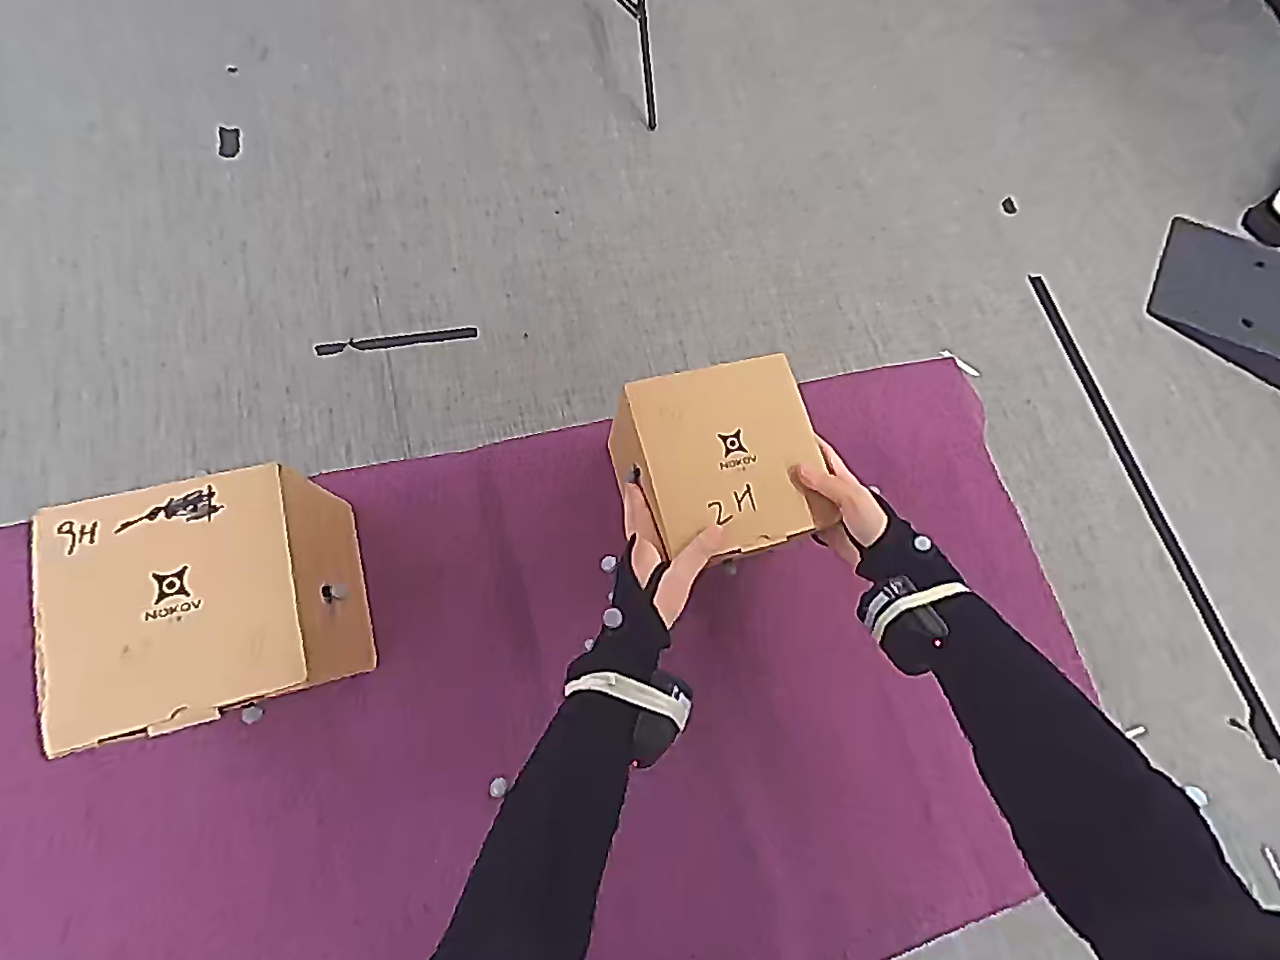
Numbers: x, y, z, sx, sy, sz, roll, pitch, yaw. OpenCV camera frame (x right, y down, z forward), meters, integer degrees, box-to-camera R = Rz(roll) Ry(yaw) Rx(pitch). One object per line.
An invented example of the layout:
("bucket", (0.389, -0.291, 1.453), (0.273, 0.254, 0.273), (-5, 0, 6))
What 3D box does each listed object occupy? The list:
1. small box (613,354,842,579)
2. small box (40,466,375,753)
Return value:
("small box", (0.073, -0.005, 0.569), (0.168, 0.176, 0.179), (-13, 77, -11))
("small box", (-0.351, 0.105, 0.473), (0.168, 0.176, 0.179), (-13, 79, -12))
